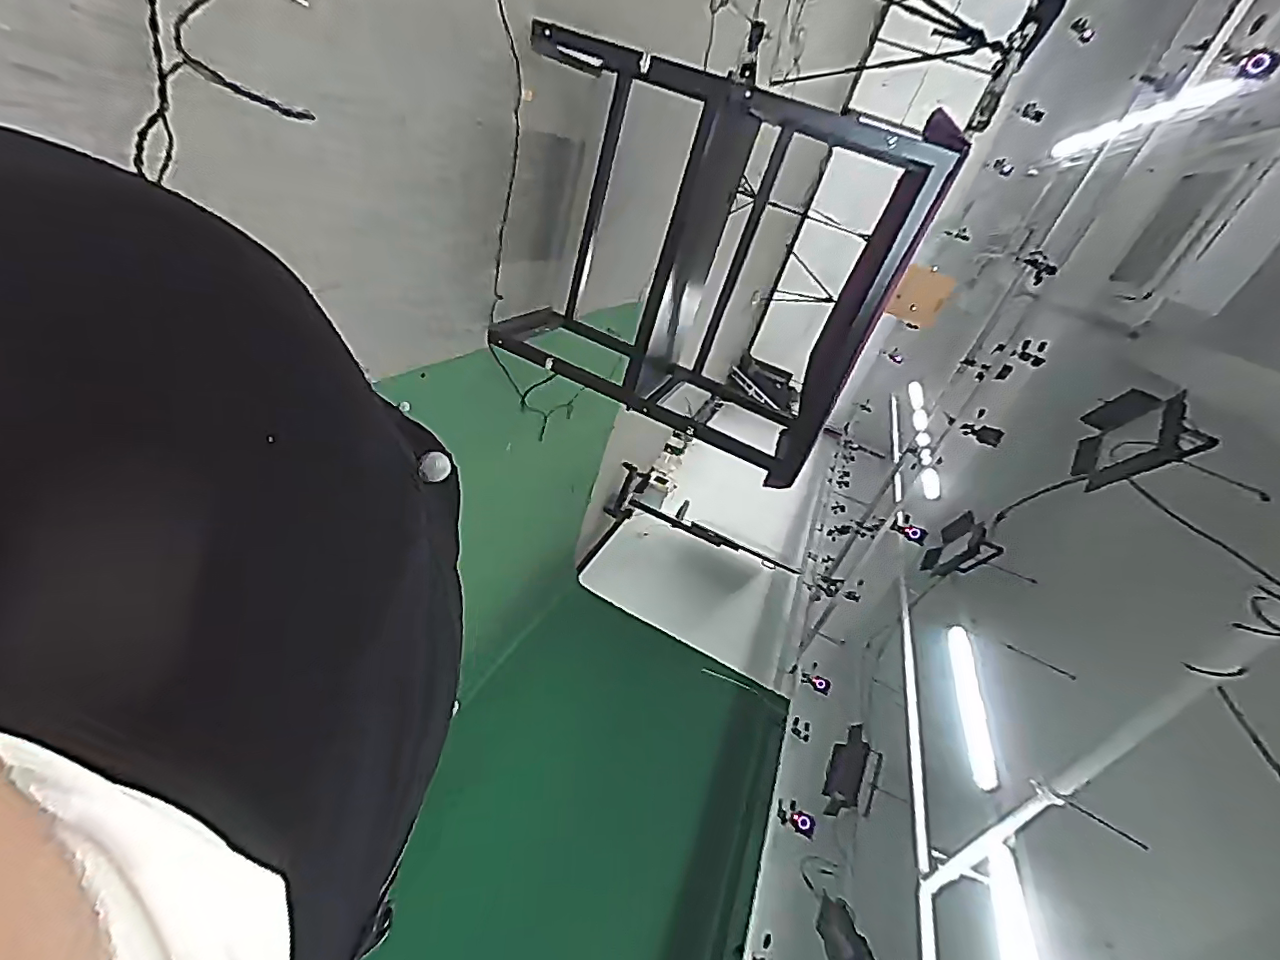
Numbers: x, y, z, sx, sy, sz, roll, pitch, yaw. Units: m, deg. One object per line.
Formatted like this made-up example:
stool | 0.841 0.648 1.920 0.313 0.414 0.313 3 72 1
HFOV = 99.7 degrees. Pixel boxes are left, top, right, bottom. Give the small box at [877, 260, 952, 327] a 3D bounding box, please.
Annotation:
small box | 0.935 -0.644 1.858 0.179 0.176 0.168 -50 163 -59
